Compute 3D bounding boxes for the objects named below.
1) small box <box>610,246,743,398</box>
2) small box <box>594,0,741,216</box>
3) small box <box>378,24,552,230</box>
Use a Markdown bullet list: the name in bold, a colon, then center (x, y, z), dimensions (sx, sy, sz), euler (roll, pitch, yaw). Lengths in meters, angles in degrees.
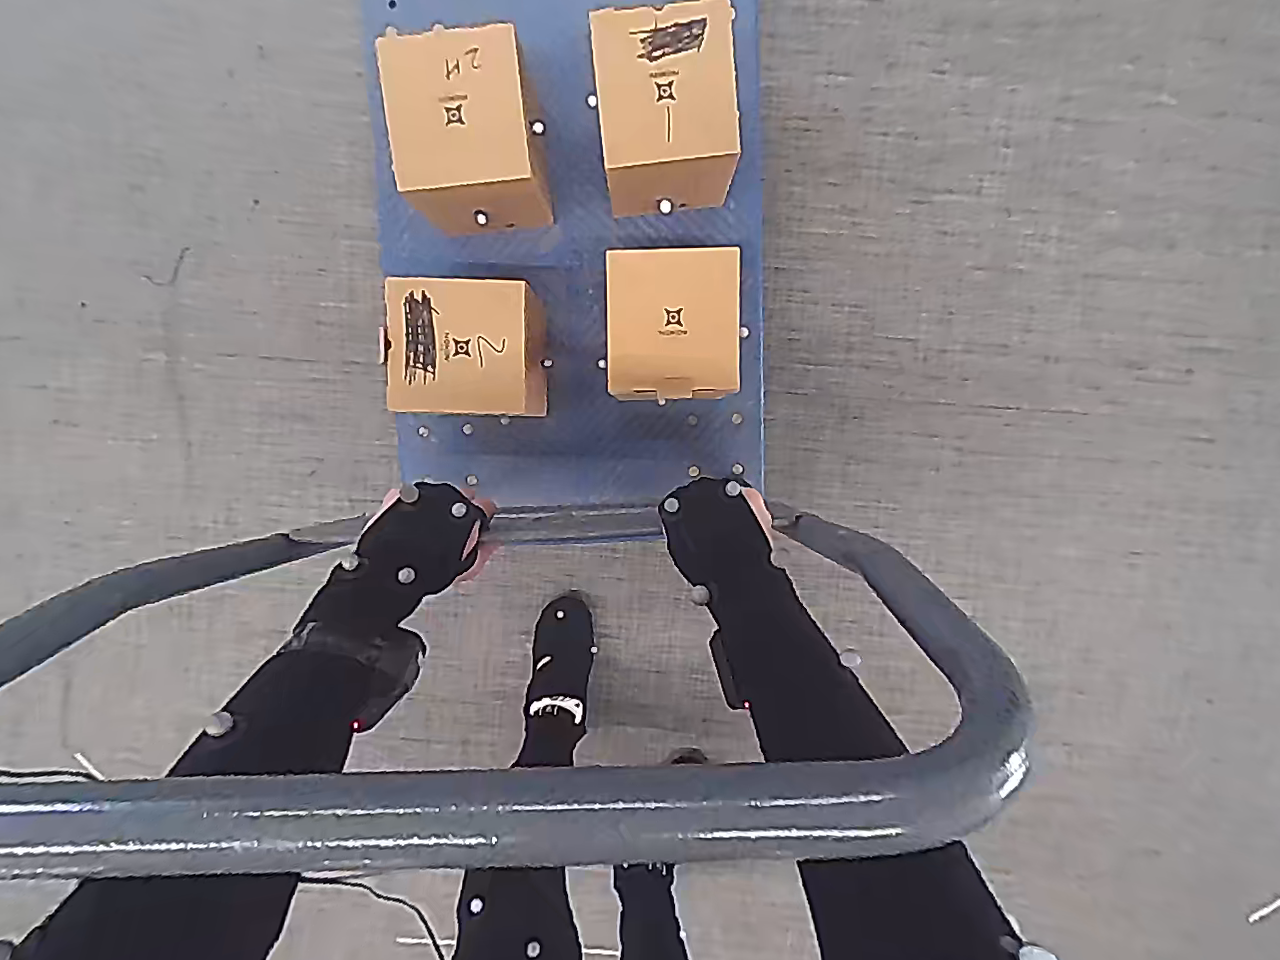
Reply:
- **small box**: center (0.044, -0.206, 0.745), dimensions (0.168, 0.176, 0.179), euler (-1, 97, 1)
- **small box**: center (0.034, -0.474, 0.712), dimensions (0.168, 0.176, 0.179), euler (-5, 98, 2)
- **small box**: center (-0.217, -0.448, 0.719), dimensions (0.168, 0.176, 0.179), euler (-5, 97, 1)
